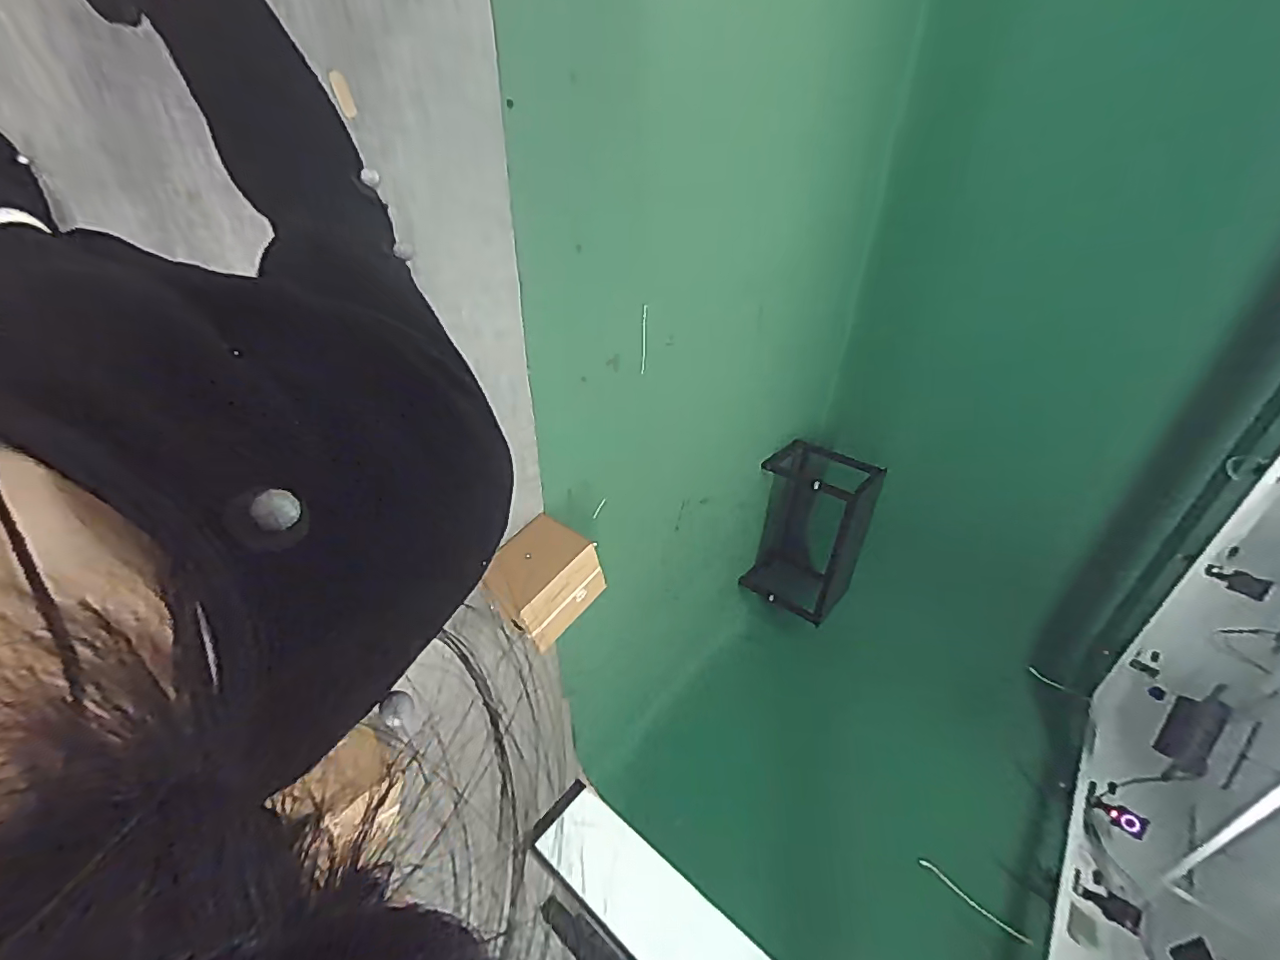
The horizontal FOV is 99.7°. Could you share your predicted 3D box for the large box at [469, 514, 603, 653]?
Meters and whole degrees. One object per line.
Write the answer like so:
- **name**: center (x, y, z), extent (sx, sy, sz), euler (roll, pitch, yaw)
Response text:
- **large box**: center (-0.421, 0.417, 2.239), extent (0.408, 0.320, 0.320), euler (-45, 143, -30)
